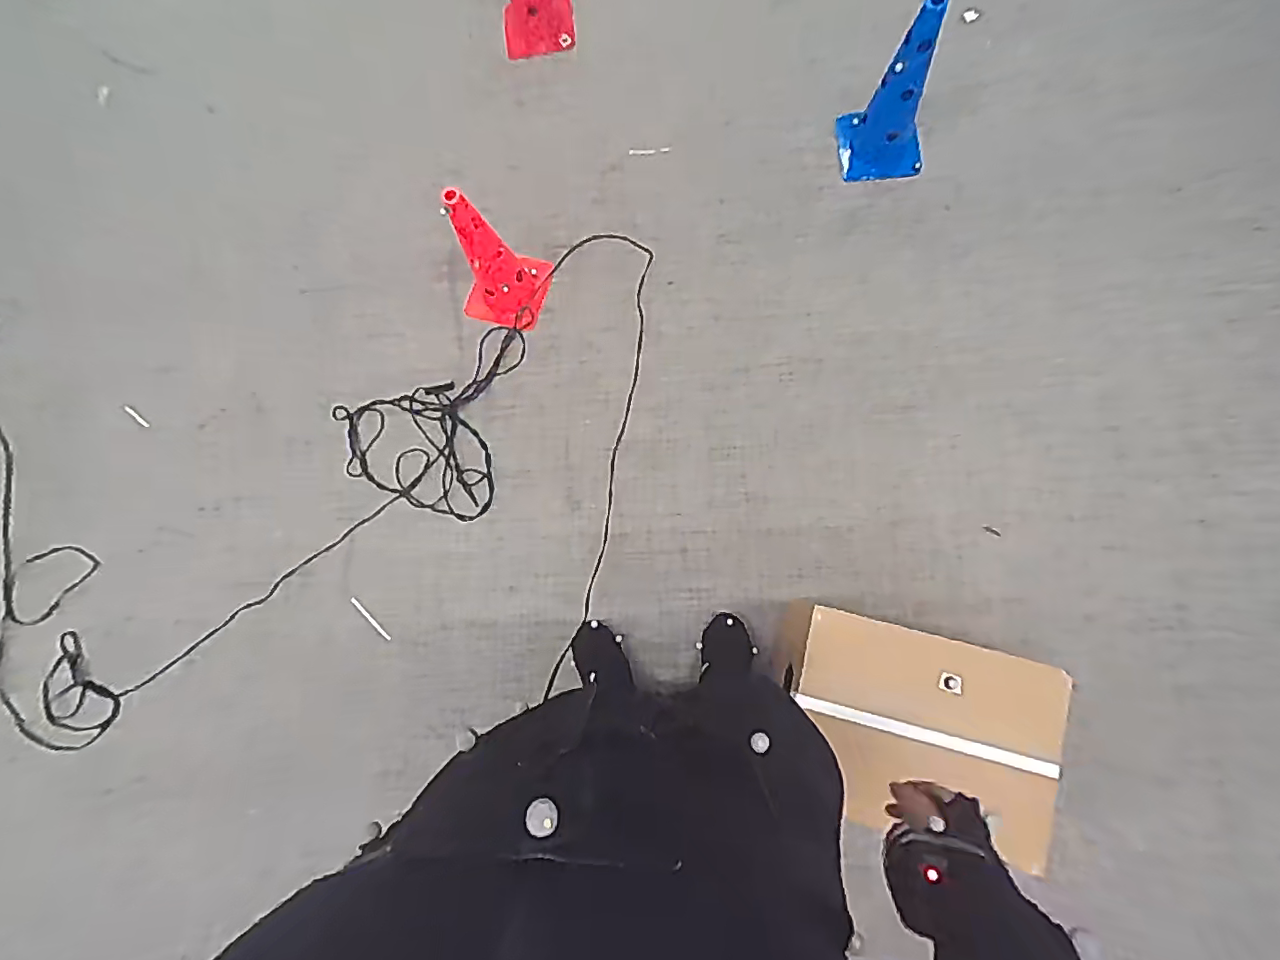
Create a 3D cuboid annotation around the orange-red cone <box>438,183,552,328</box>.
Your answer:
[{"bbox_3d":[-0.367,-0.536,1.246,0.199,0.360,0.198,17,80,11],"label":"orange-red cone"}]

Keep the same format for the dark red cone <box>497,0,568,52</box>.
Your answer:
[{"bbox_3d":[-0.328,-1.359,1.392,0.202,0.394,0.201,-10,74,4],"label":"dark red cone"}]

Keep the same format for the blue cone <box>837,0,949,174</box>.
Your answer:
[{"bbox_3d":[0.593,-0.906,1.231,0.192,0.380,0.193,-2,78,6],"label":"blue cone"}]
